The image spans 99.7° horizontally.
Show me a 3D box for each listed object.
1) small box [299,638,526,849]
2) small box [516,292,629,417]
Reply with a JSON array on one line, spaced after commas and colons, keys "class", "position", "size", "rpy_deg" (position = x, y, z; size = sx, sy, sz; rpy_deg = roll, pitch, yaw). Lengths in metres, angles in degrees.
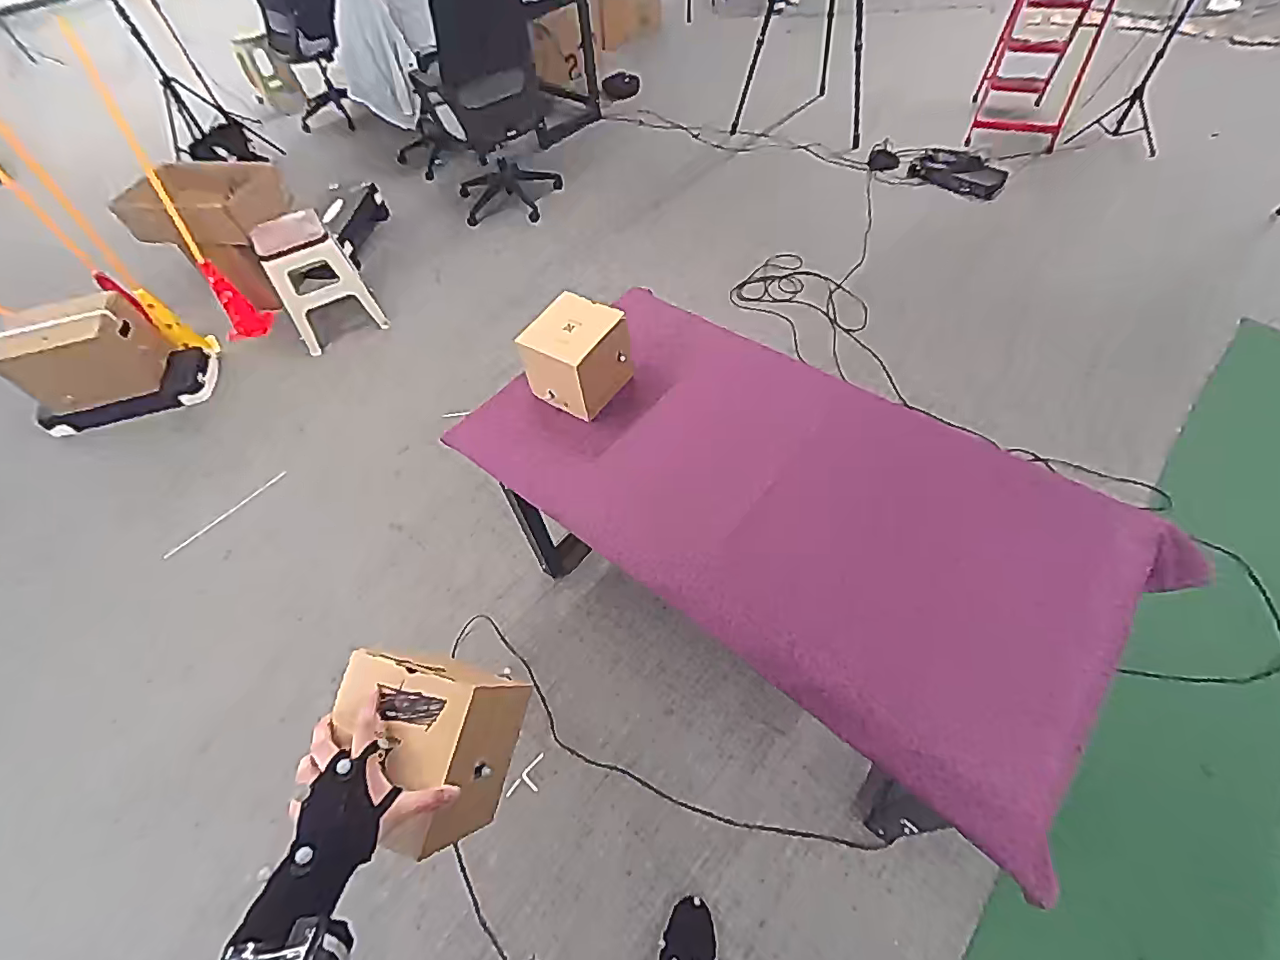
[{"class": "small box", "position": [-0.262, 0.308, 0.669], "size": [0.168, 0.176, 0.179], "rpy_deg": [11, 74, 17]}, {"class": "small box", "position": [-0.137, -0.272, 1.179], "size": [0.168, 0.176, 0.179], "rpy_deg": [27, 62, 23]}]
